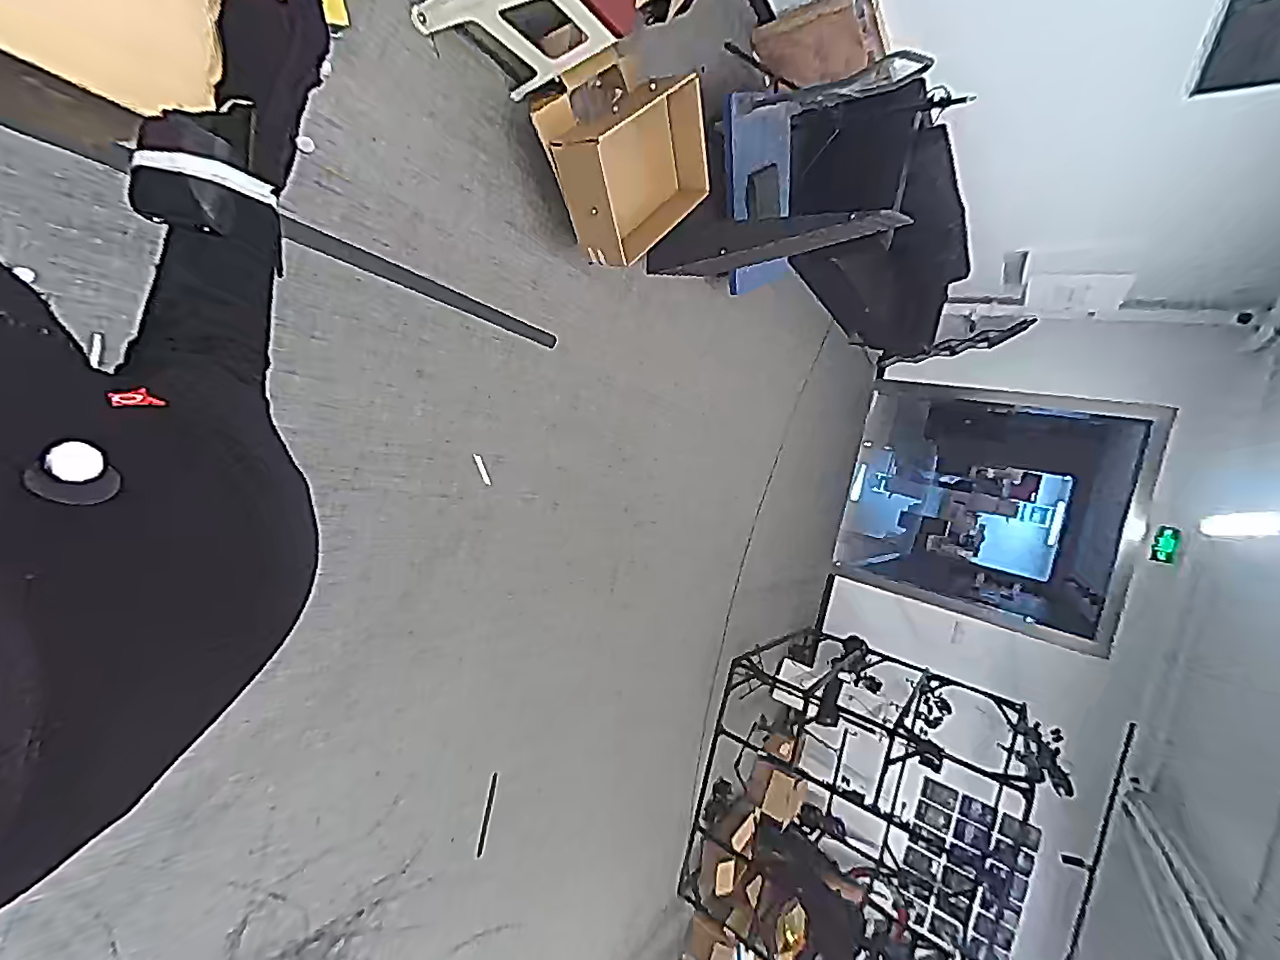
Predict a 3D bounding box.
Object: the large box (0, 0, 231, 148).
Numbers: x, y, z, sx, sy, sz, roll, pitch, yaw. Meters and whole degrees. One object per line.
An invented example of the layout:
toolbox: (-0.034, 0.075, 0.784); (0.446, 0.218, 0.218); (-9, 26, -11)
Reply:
large box: (-0.500, -0.437, 0.281); (0.408, 0.320, 0.320); (3, 107, -59)
